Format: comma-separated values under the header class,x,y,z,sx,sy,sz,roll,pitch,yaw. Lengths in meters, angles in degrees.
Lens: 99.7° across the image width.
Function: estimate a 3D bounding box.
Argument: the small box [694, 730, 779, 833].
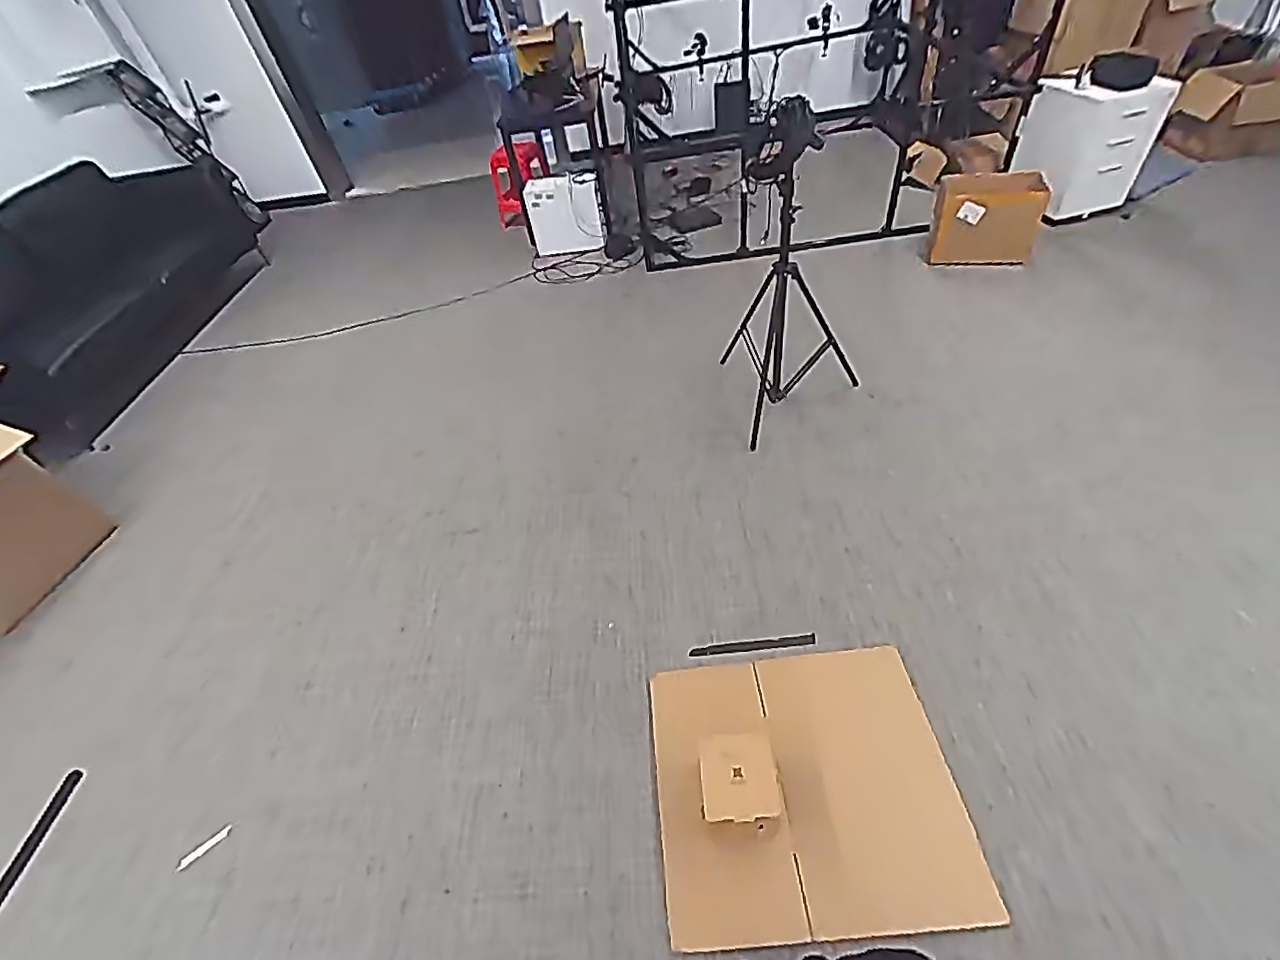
class,x,y,z,sx,sy,sz,roll,pitch,yaw
small box,0.219,0.701,1.250,0.168,0.176,0.179,-6,46,2
